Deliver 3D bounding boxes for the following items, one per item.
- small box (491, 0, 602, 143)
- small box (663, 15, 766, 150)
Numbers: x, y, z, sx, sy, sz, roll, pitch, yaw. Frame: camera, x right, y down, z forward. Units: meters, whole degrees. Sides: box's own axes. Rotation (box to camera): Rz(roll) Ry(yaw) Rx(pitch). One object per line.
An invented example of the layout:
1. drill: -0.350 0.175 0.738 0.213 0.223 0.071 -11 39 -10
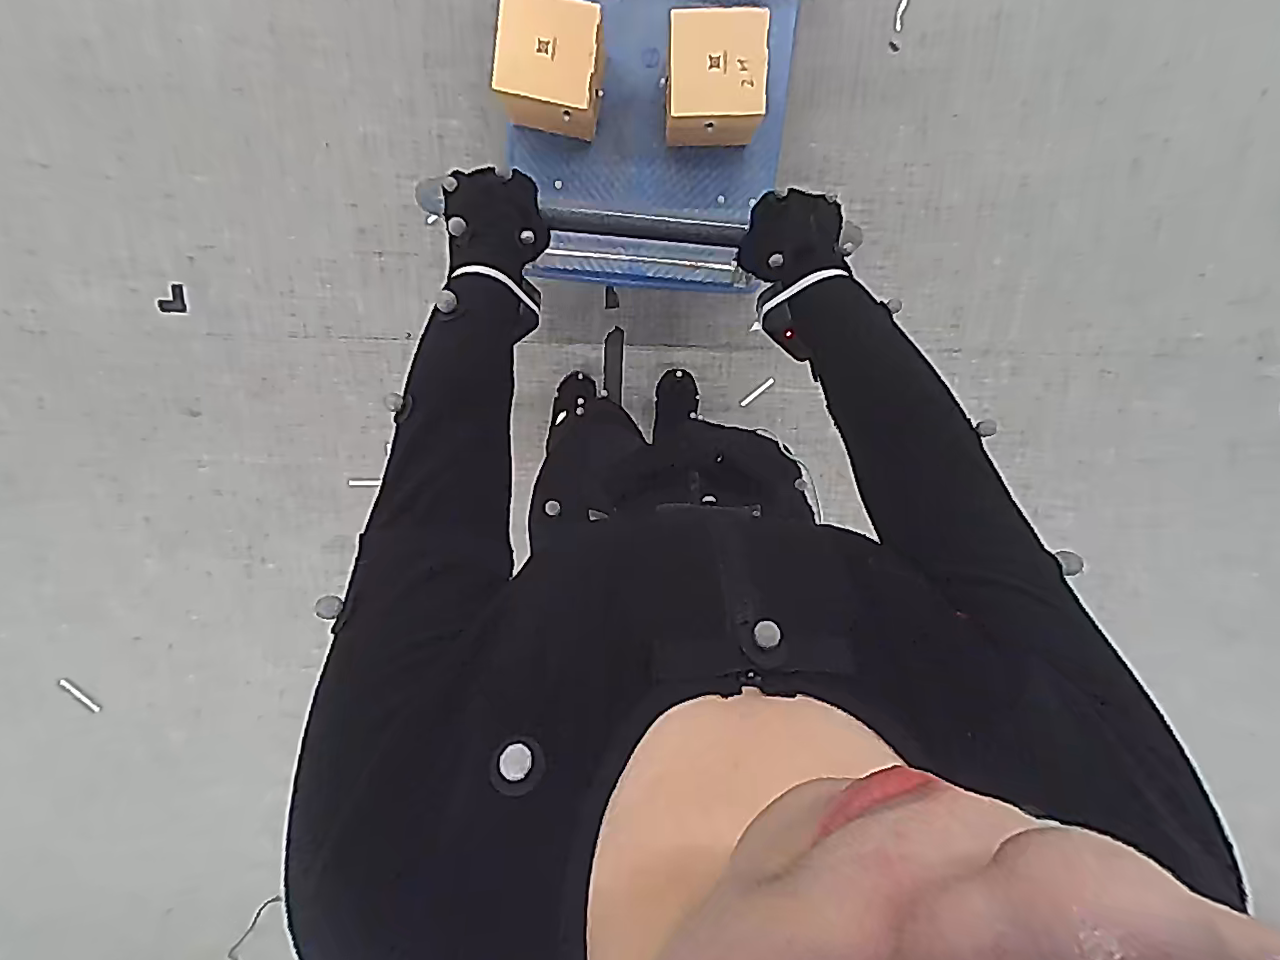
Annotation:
1. small box: -0.172 -0.777 1.036 0.179 0.176 0.168 9 104 -5
2. small box: 0.134 -0.756 1.045 0.179 0.176 0.168 -1 106 -1
